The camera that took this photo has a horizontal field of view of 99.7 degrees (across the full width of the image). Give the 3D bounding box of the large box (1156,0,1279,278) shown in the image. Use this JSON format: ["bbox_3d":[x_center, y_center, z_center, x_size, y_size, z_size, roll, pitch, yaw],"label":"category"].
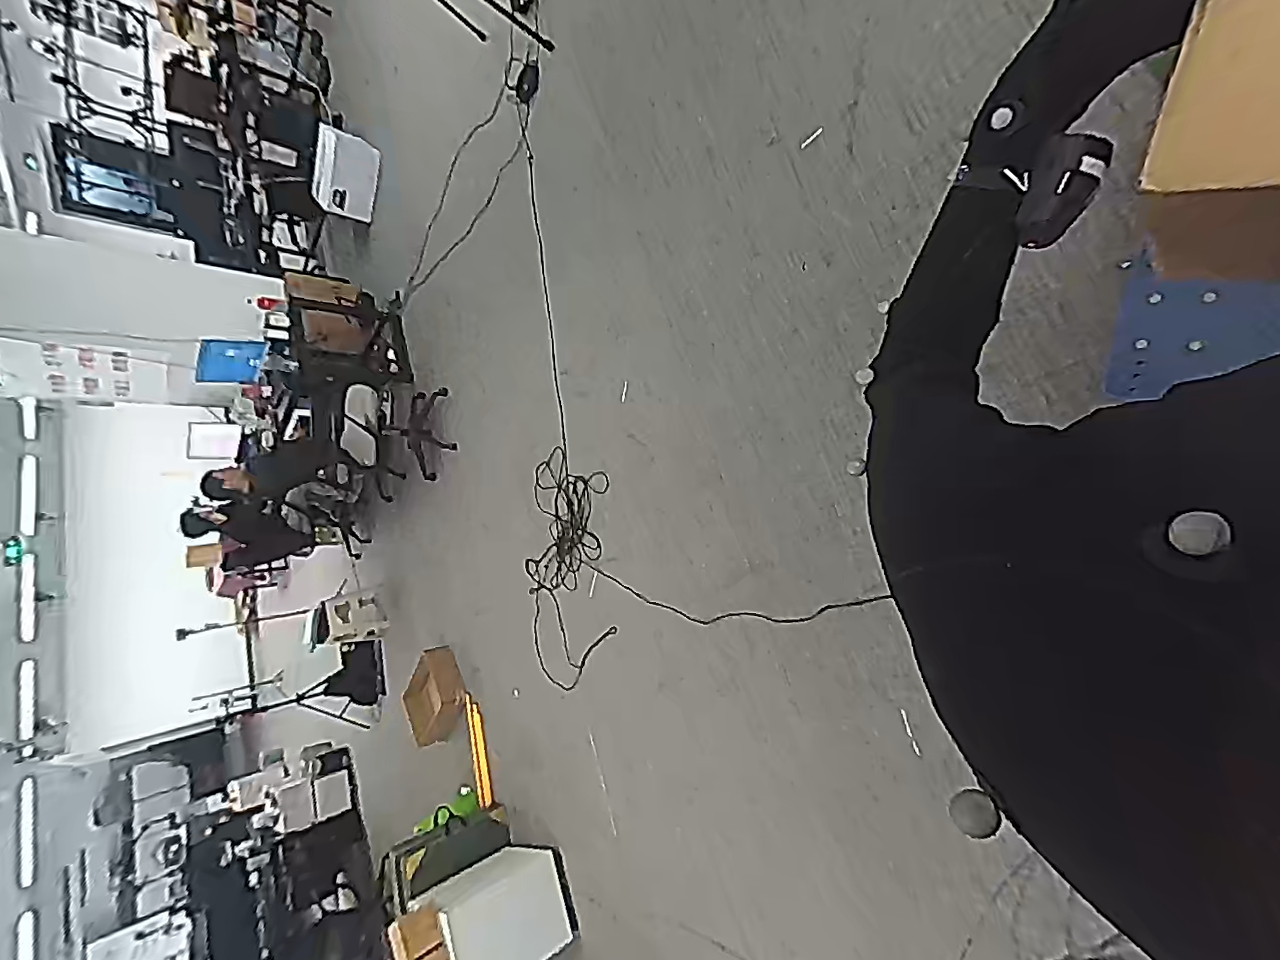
[{"bbox_3d":[0.585,-0.298,0.285,0.408,0.320,0.320,20,109,41],"label":"large box"}]
